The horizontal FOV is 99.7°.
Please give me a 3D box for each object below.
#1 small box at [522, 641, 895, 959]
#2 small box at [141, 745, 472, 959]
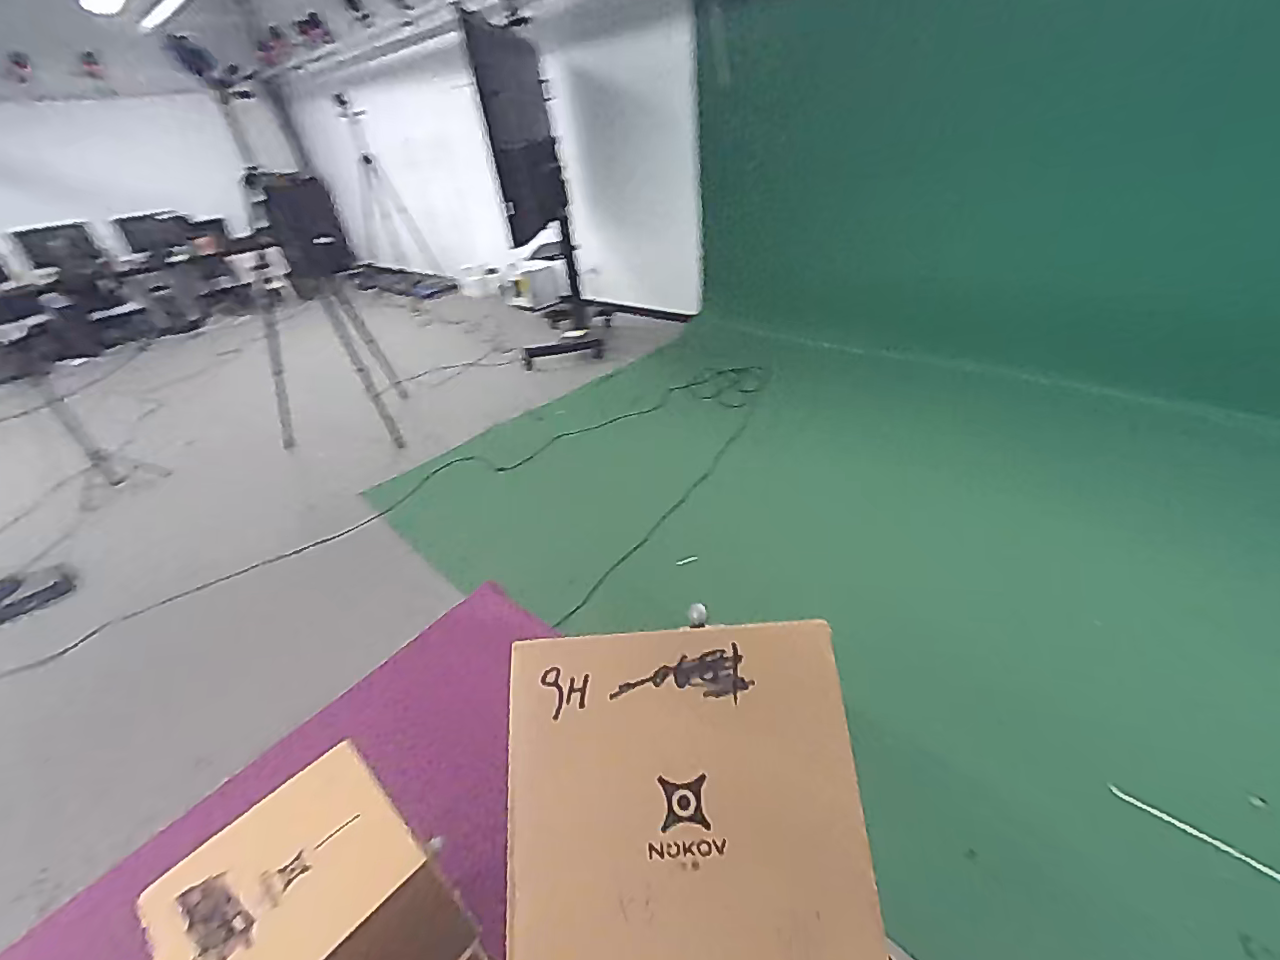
[{"bbox_3d":[0.032,0.191,0.327,0.168,0.176,0.179,-3,72,2],"label":"small box"},{"bbox_3d":[-0.281,0.393,0.483,0.168,0.176,0.179,23,43,37],"label":"small box"}]
